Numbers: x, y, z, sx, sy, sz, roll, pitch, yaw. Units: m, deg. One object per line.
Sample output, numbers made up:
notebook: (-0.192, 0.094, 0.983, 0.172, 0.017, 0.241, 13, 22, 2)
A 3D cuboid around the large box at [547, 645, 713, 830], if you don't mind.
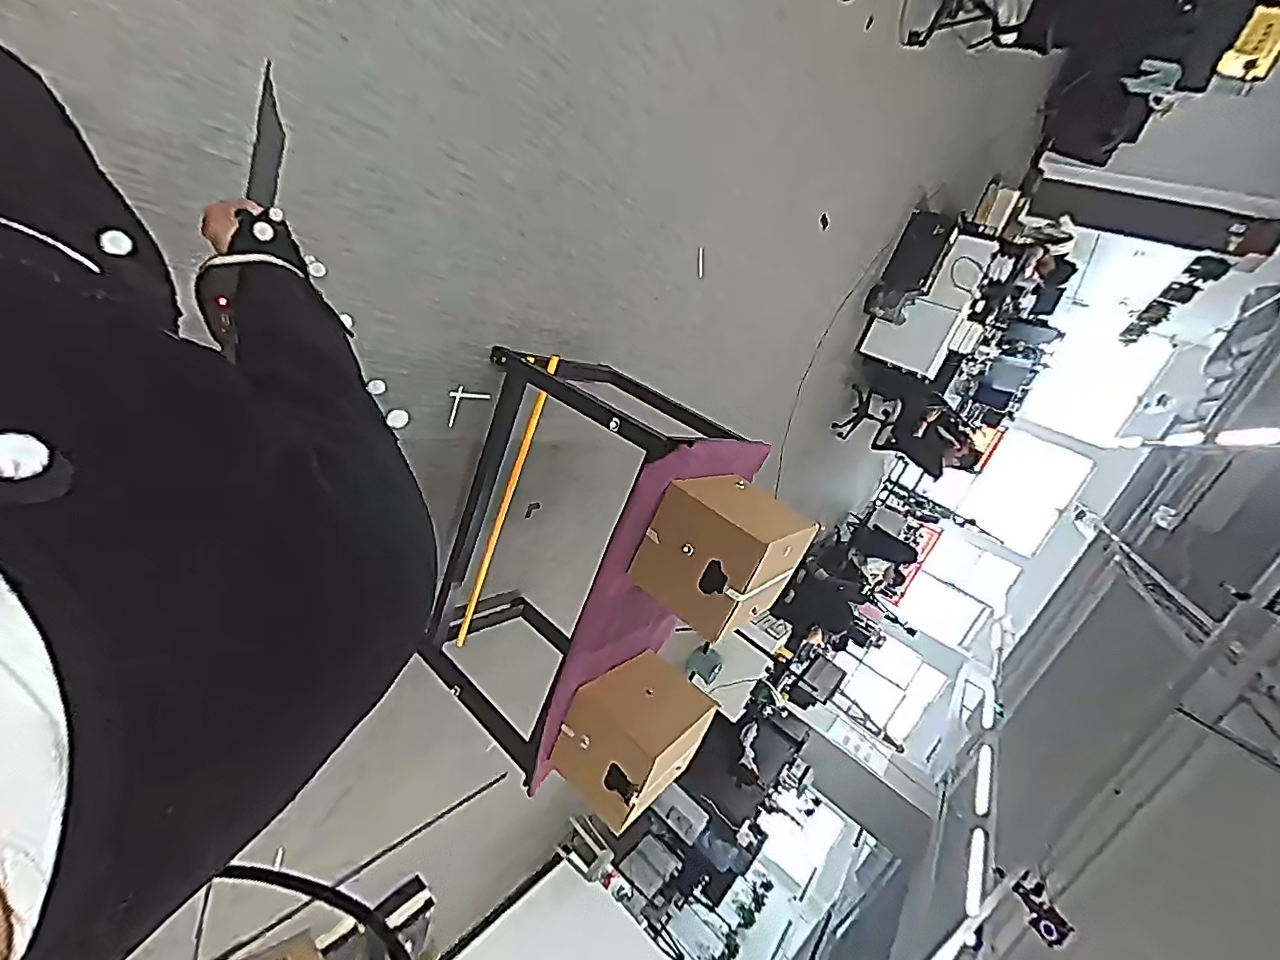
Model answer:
large box: (-0.029, 0.802, 1.751, 0.408, 0.320, 0.320, -7, 124, -57)
